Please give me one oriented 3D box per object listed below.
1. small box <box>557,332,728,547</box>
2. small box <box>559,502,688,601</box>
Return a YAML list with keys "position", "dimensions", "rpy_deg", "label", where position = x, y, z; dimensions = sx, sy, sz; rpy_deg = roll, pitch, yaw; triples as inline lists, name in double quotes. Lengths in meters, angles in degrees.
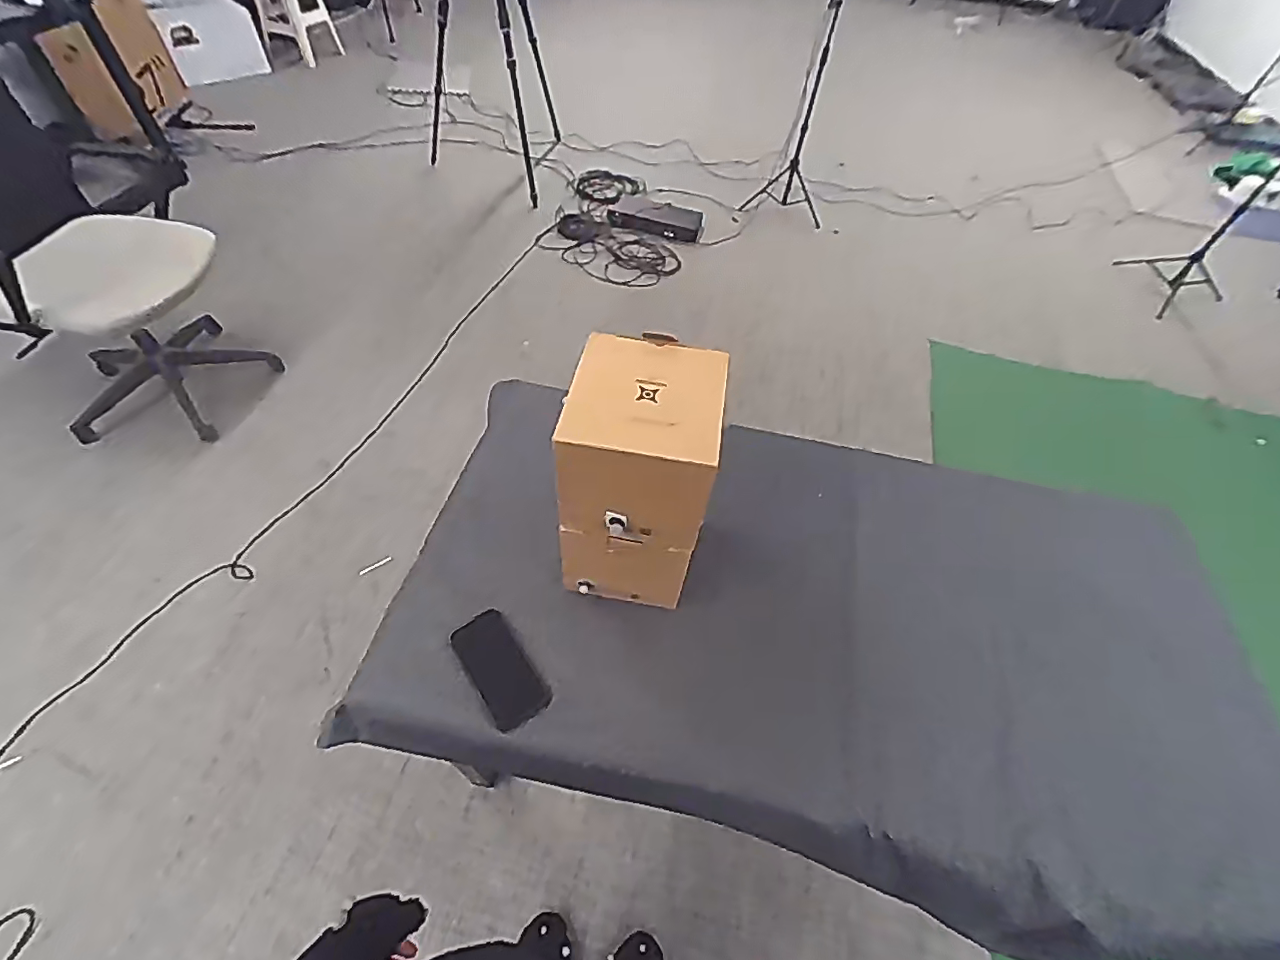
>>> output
- position: [0.004, -0.045, 0.644]
  dimensions: [0.168, 0.176, 0.179]
  rpy_deg: [9, 54, 2]
  label: "small box"
- position: [-0.011, 0.052, 0.772]
  dimensions: [0.168, 0.176, 0.179]
  rpy_deg: [10, 52, 2]
  label: "small box"
